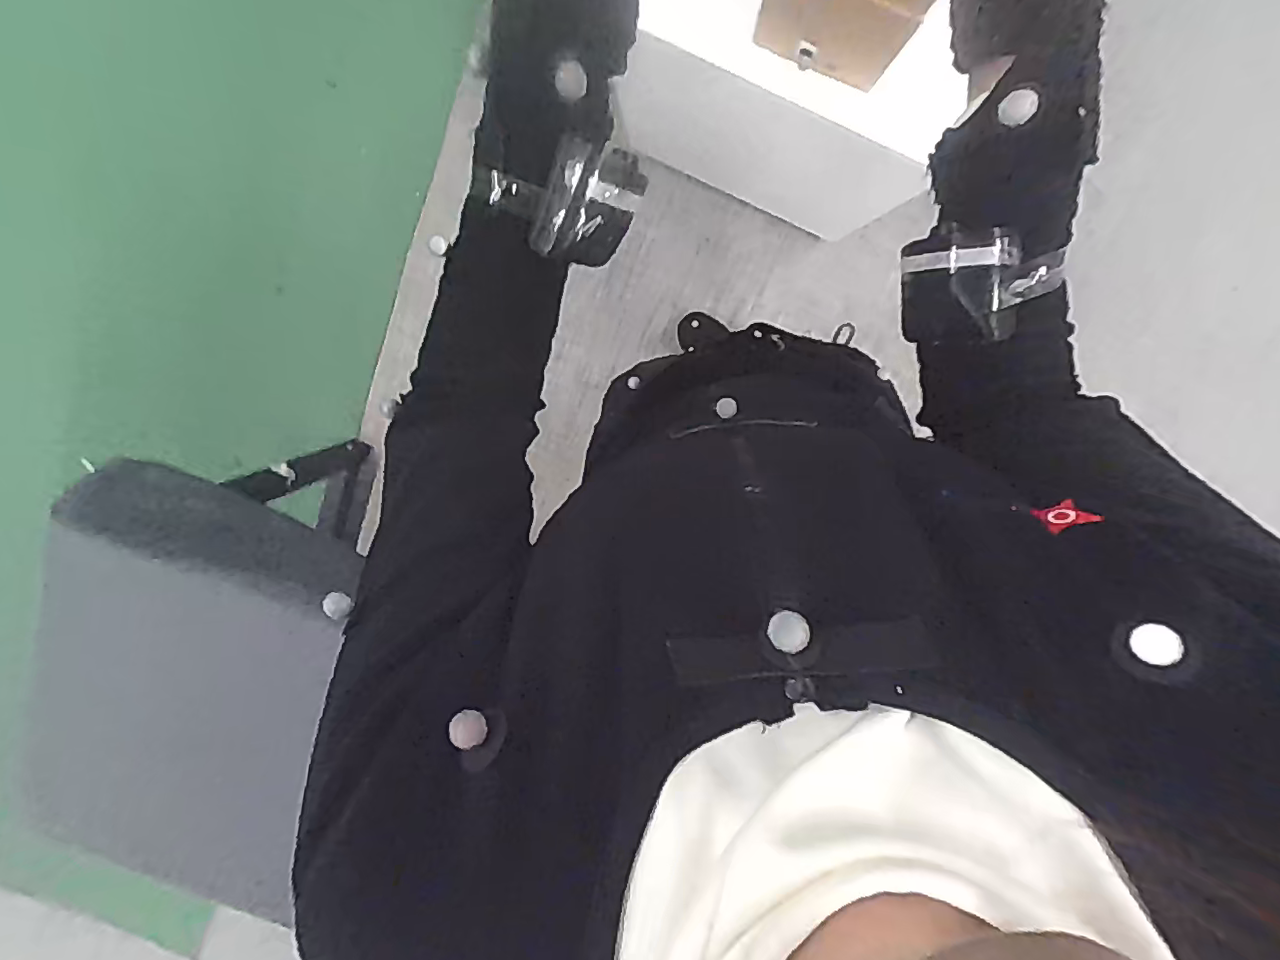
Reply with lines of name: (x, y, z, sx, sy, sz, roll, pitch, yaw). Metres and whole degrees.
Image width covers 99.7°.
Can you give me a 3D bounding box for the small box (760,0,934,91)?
small box: (0.239, -0.568, 0.577, 0.168, 0.176, 0.179, 22, 107, 0)
